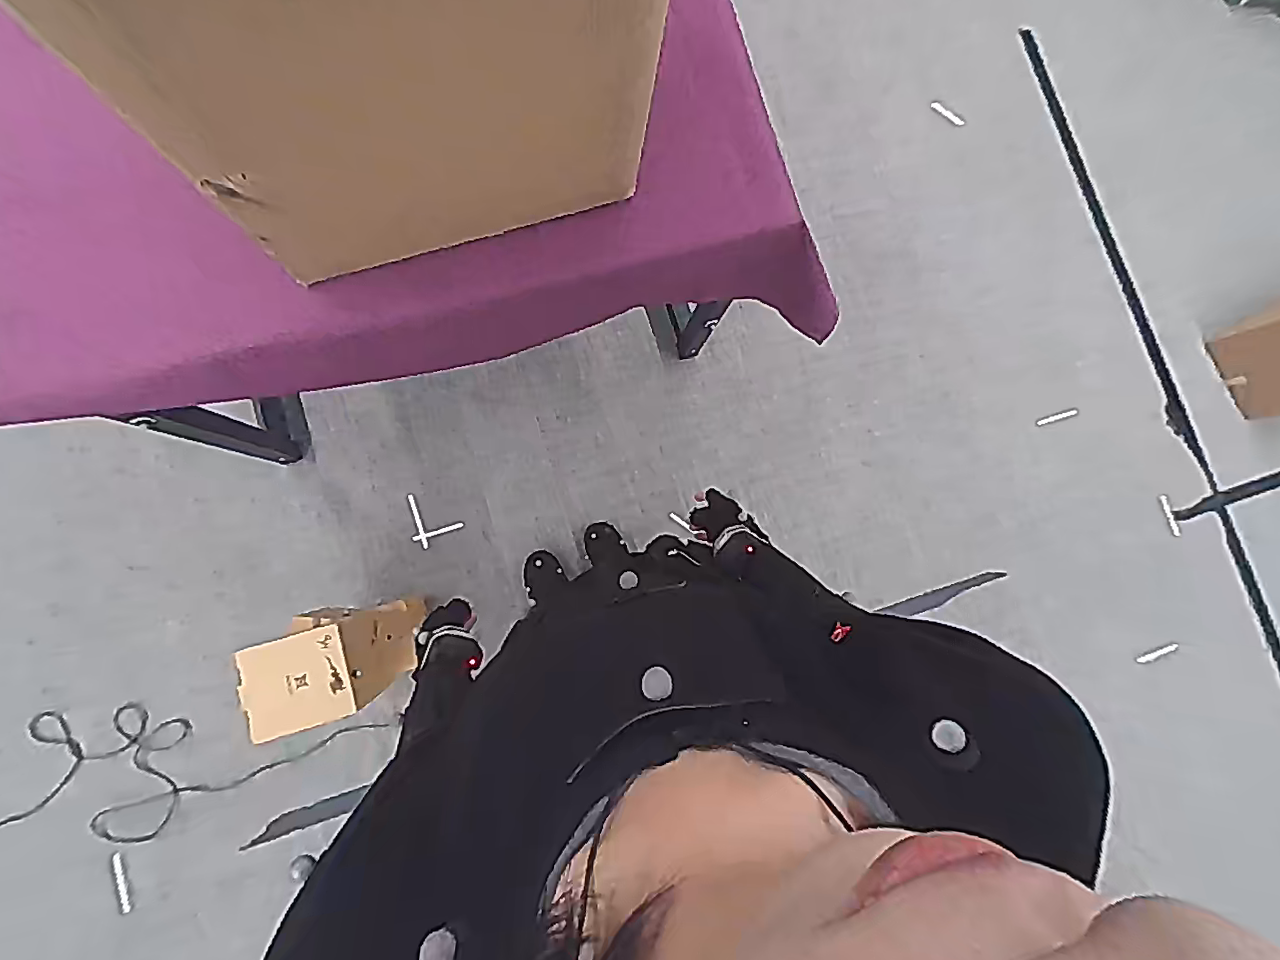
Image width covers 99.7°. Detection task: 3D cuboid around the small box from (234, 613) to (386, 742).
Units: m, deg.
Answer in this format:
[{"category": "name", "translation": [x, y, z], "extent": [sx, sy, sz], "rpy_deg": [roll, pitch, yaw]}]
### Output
[{"category": "small box", "translation": [-0.609, 0.361, 1.017], "extent": [0.179, 0.176, 0.168], "rpy_deg": [-15, 85, -9]}]

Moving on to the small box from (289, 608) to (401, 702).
[{"category": "small box", "translation": [-0.640, 0.374, 1.178], "extent": [0.179, 0.176, 0.168], "rpy_deg": [4, 82, -6]}]

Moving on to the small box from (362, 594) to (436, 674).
[{"category": "small box", "translation": [-0.629, 0.391, 1.342], "extent": [0.179, 0.176, 0.168], "rpy_deg": [-15, 86, -9]}]
